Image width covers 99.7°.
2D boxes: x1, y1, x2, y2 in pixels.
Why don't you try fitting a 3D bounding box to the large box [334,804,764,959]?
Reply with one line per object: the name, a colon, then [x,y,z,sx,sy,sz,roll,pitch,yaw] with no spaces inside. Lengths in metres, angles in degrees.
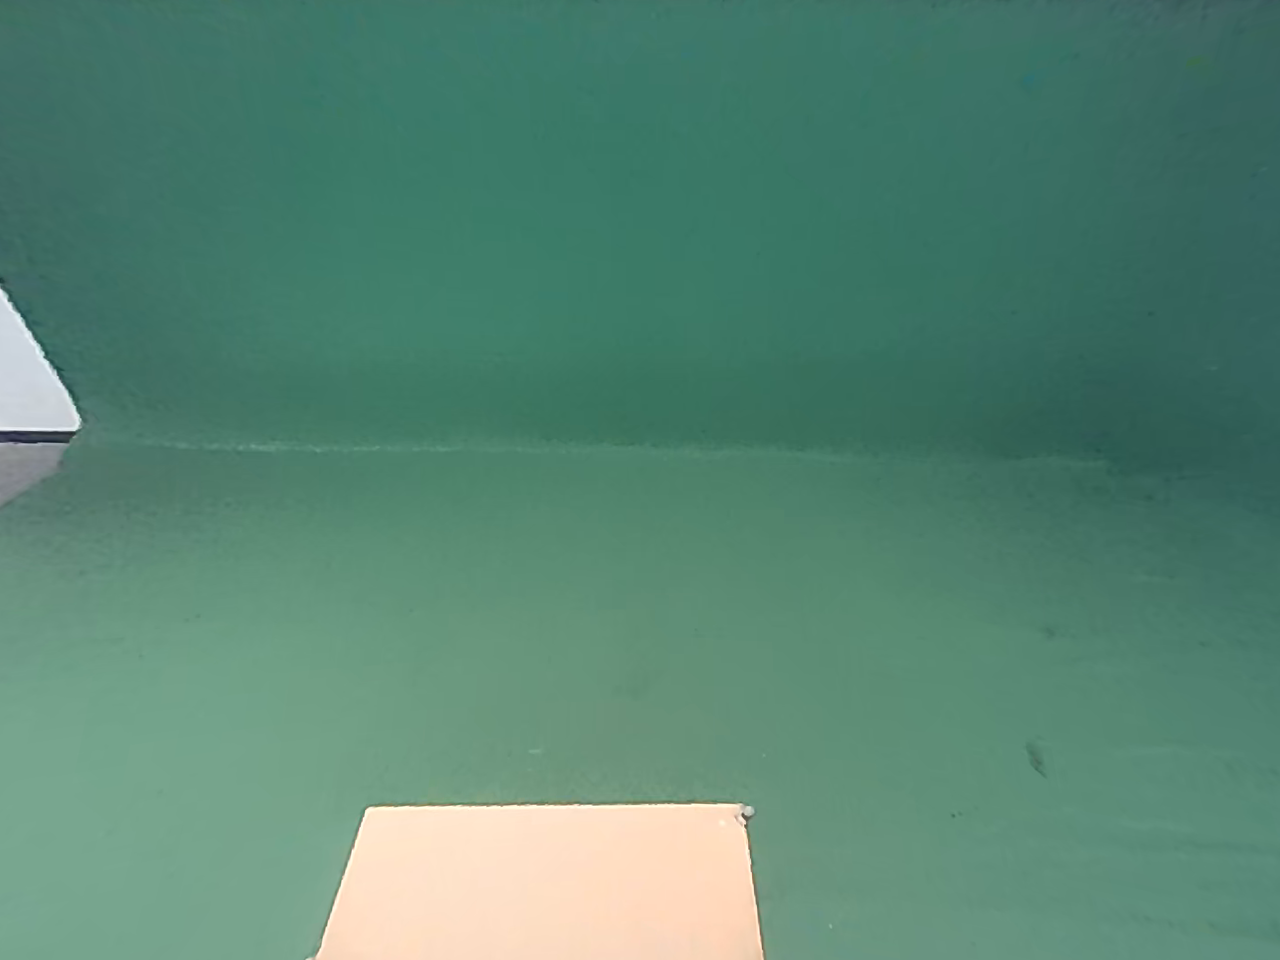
large box: [-0.089,0.573,0.576,0.408,0.320,0.320,1,43,-3]
